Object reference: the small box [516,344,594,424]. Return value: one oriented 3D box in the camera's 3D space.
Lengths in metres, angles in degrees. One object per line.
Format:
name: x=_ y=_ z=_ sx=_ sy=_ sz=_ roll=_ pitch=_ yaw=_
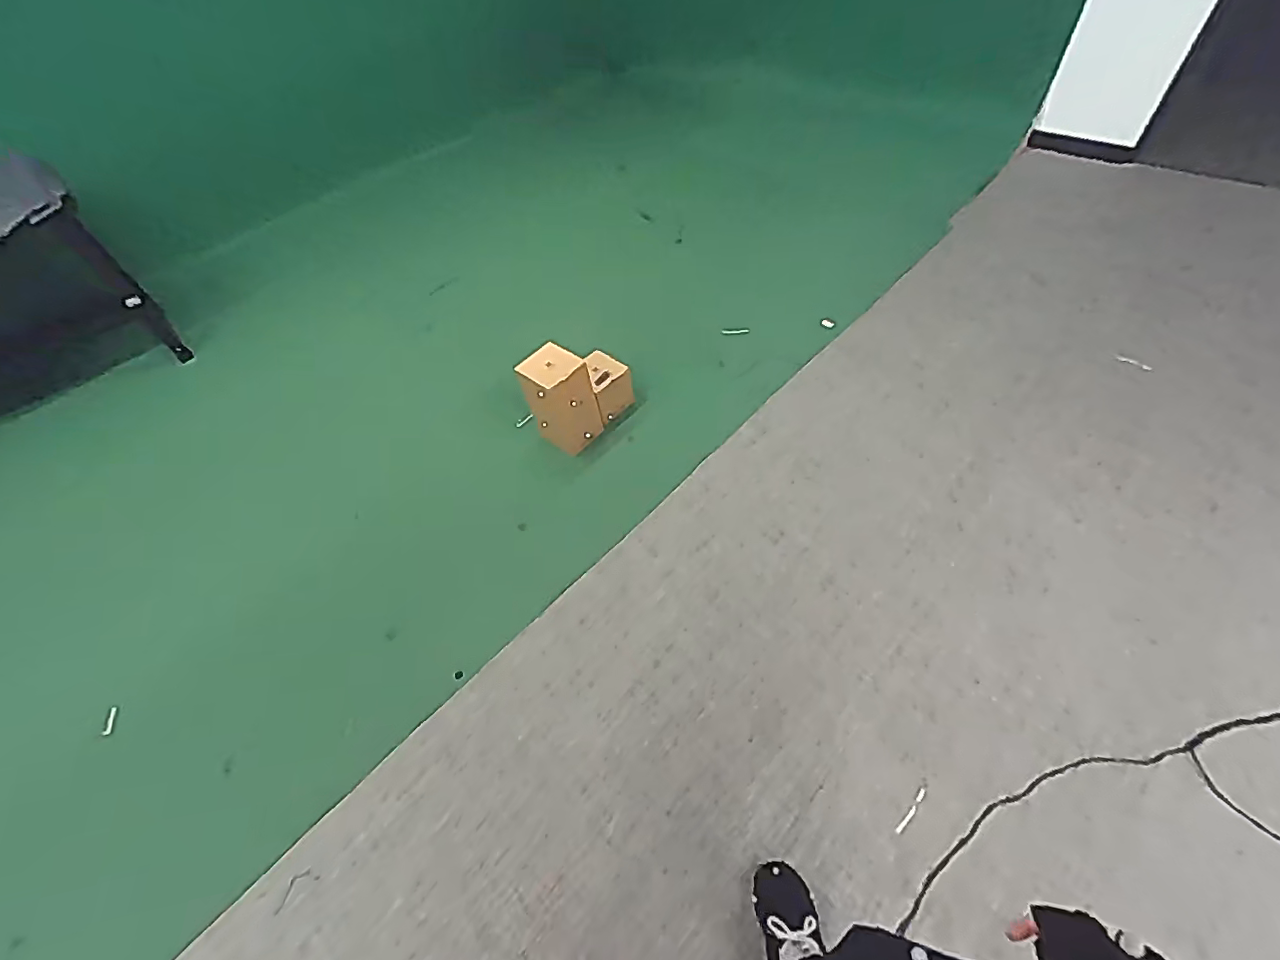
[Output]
small box: x=-0.279 y=-0.315 z=1.802 sx=0.179 sy=0.176 sz=0.168 roll=32 pitch=63 yaw=27
